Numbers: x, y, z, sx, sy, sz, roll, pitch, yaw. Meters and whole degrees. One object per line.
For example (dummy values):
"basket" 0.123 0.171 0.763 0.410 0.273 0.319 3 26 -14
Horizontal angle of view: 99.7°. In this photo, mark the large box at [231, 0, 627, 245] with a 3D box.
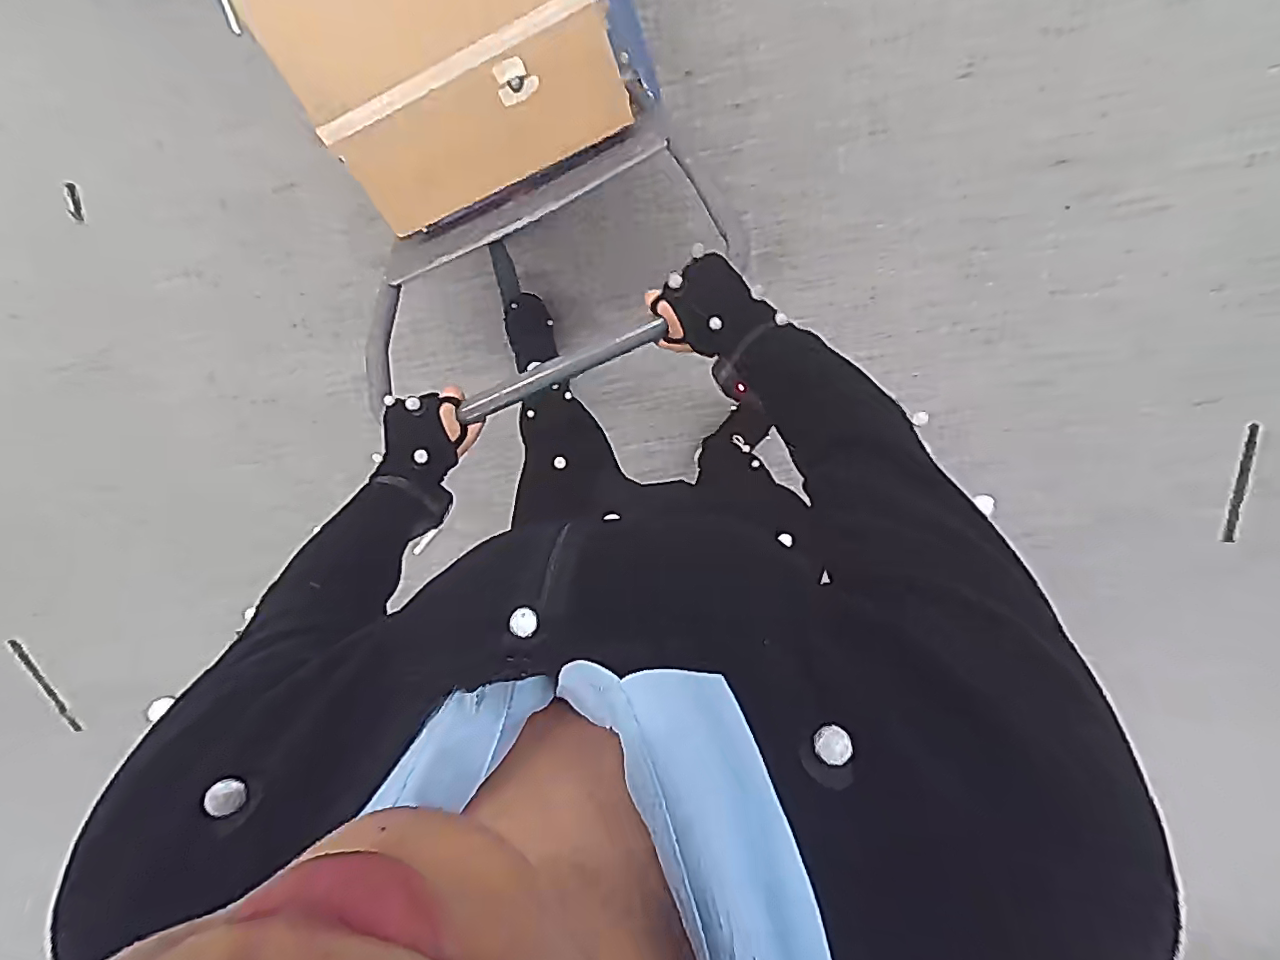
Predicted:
"large box" -0.279 -0.636 0.815 0.408 0.320 0.320 -23 135 8
